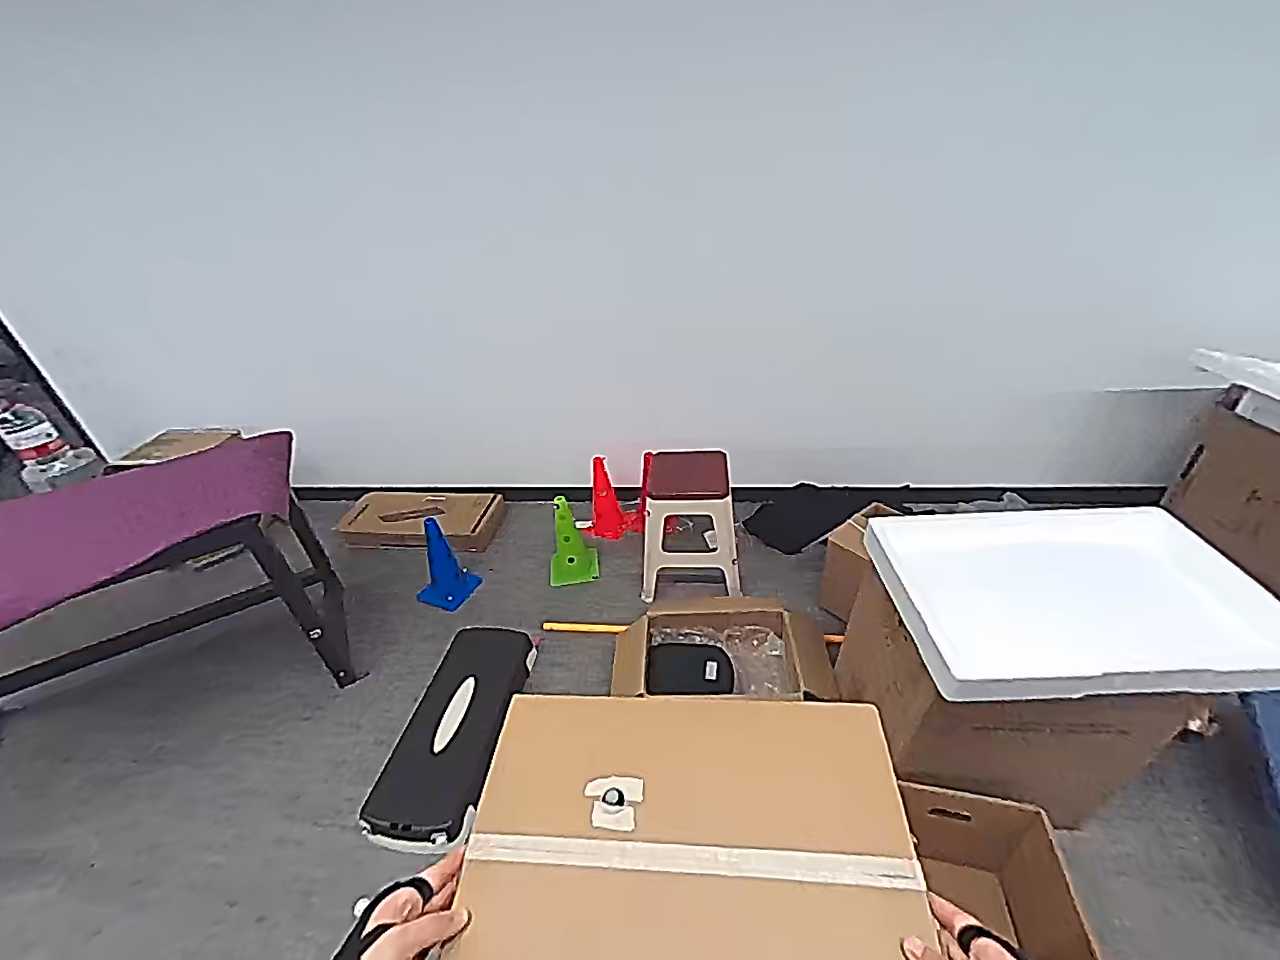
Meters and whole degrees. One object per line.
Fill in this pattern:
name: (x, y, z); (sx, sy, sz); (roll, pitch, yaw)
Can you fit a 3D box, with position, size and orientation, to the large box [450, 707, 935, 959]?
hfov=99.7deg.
large box: (0.060, 0.470, 0.580); (0.408, 0.320, 0.320); (-3, 36, 8)
